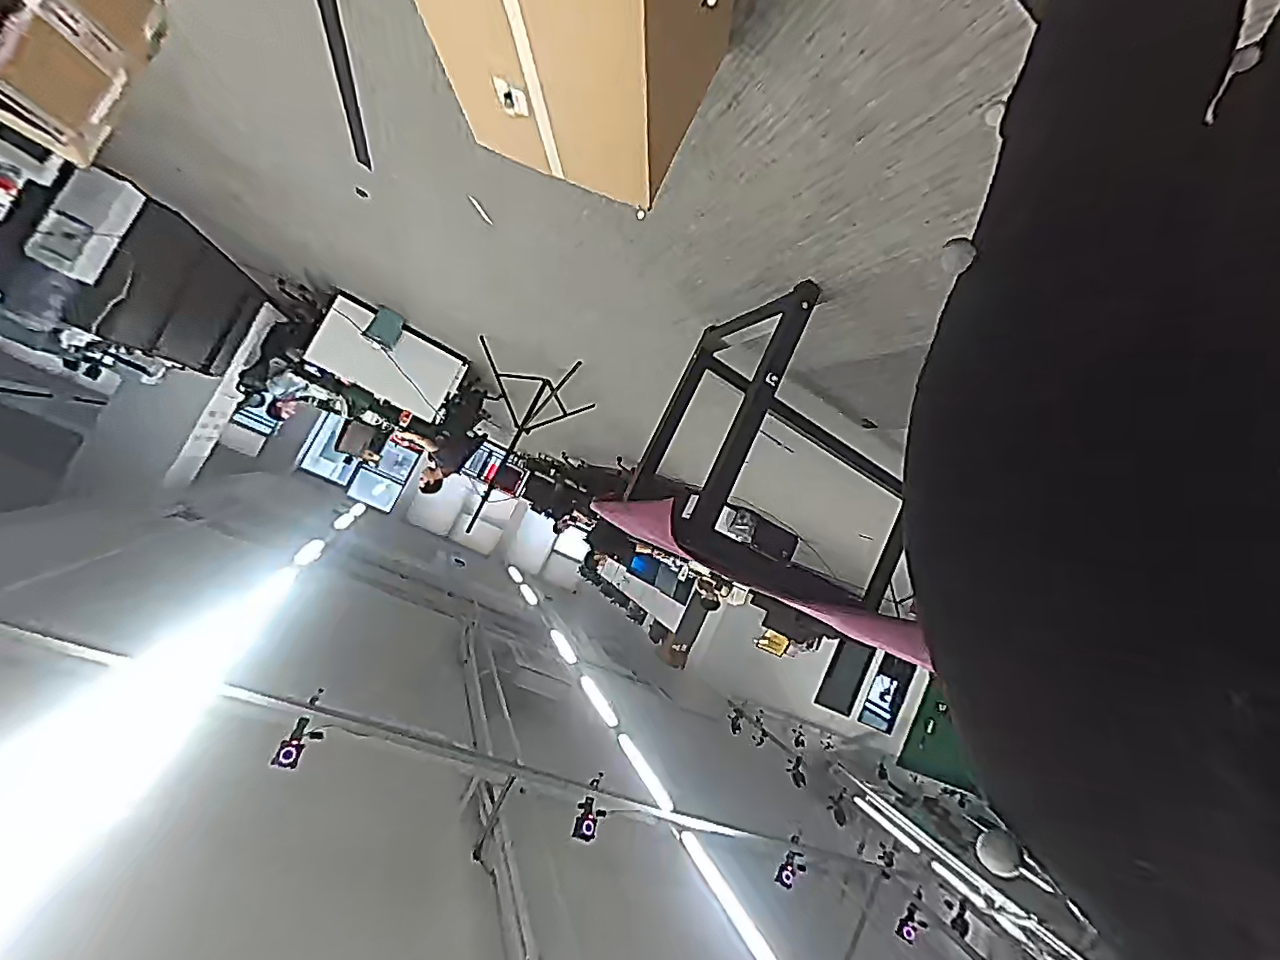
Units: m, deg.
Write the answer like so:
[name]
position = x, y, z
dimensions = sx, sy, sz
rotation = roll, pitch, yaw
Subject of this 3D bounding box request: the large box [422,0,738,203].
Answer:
[large box]
position = -0.062, -0.648, 0.665
dimensions = 0.320, 0.320, 0.408
rotation = 26, 175, 6
